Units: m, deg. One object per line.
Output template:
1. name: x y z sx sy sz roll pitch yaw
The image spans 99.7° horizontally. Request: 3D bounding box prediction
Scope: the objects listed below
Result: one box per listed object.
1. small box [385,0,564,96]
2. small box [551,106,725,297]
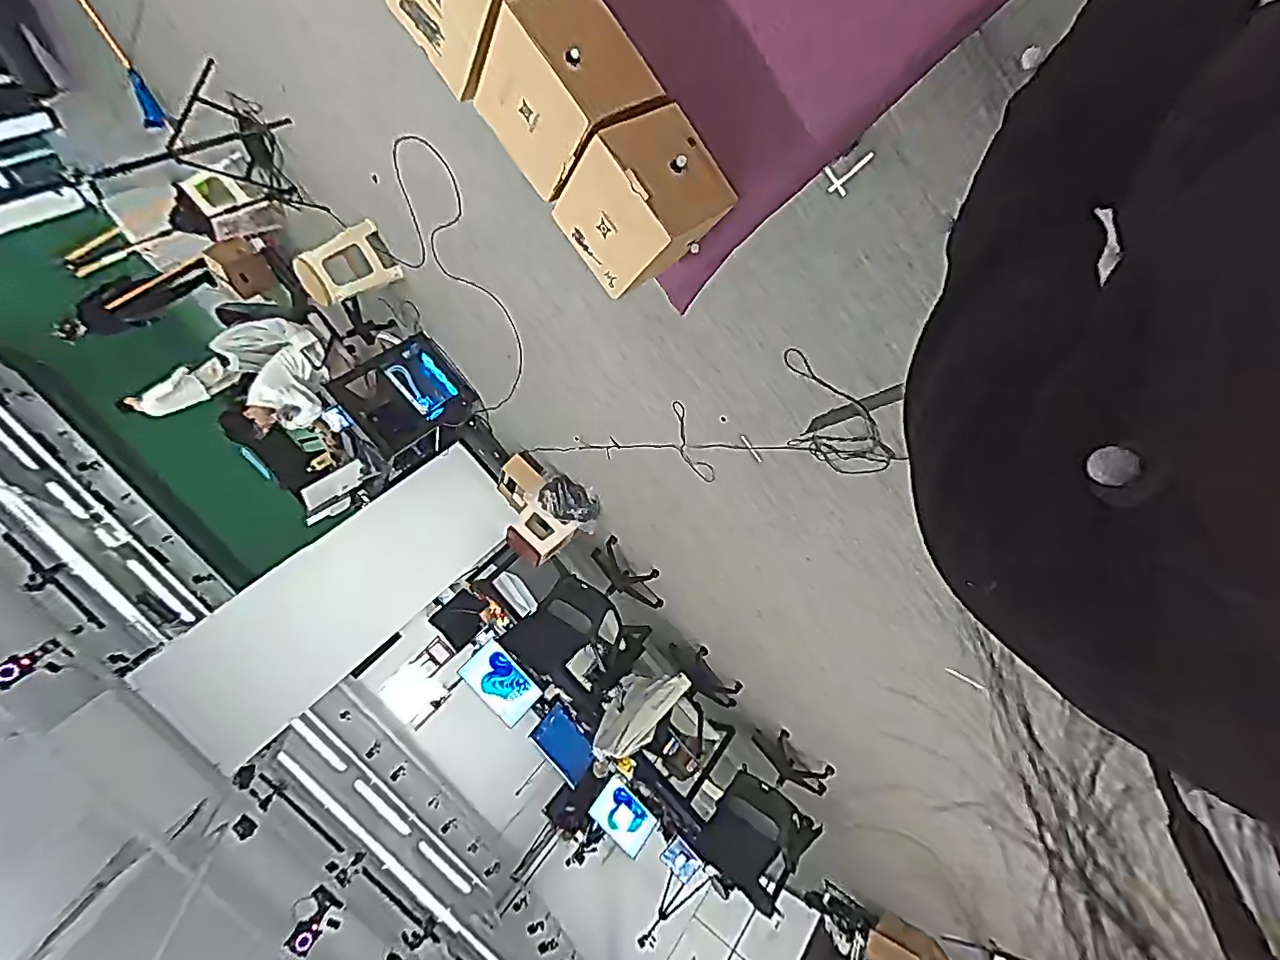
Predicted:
1. small box: -0.227 -0.696 0.757 0.168 0.176 0.179 50 149 -12
2. small box: 0.004 -0.416 0.813 0.168 0.176 0.179 53 149 -10
